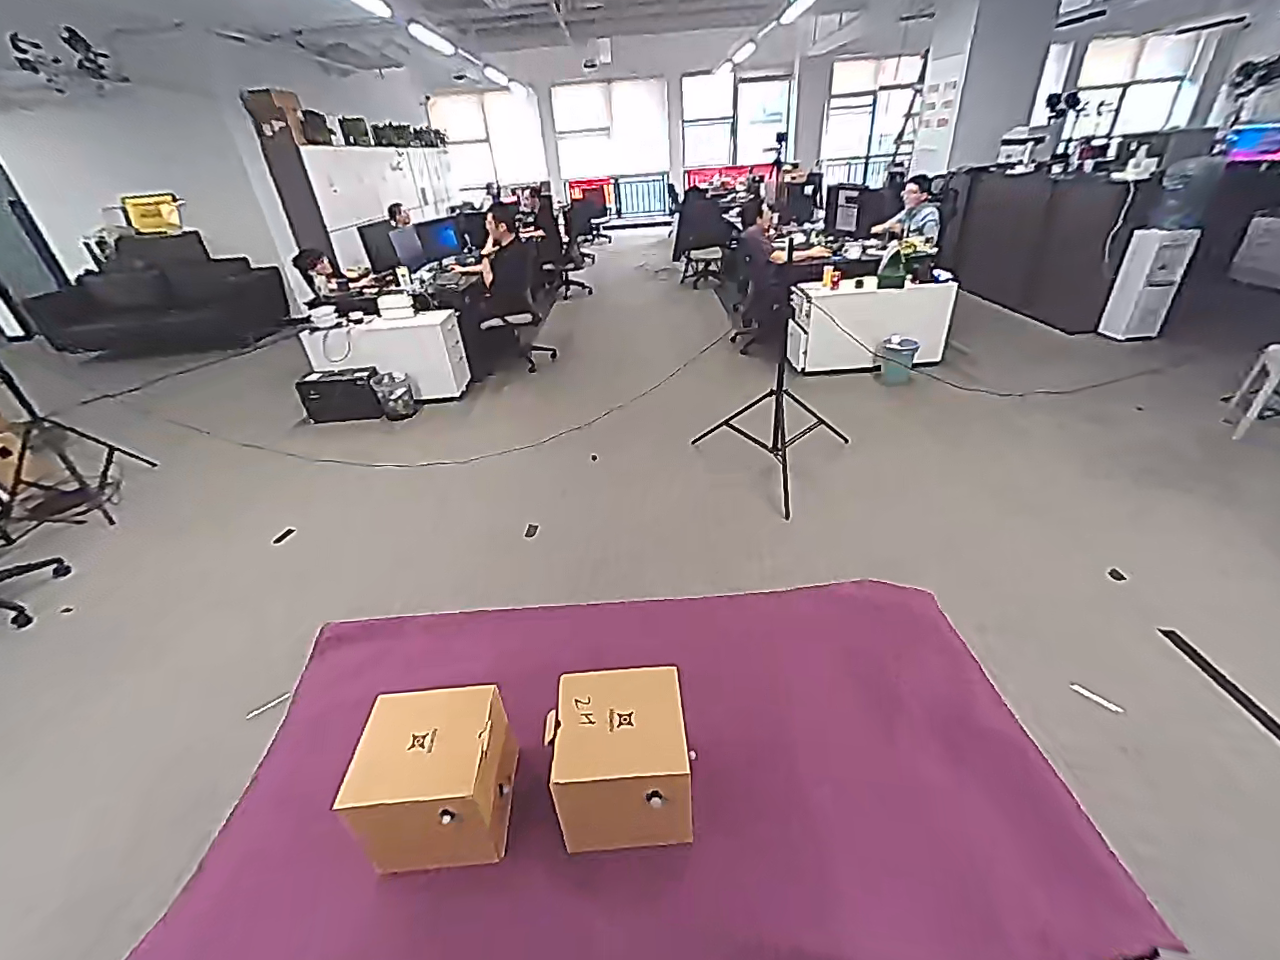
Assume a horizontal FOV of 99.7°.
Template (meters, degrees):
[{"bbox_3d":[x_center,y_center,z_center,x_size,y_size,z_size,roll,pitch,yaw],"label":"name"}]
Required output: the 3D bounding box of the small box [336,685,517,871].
[{"bbox_3d":[-0.284,0.421,0.766,0.179,0.176,0.168,-5,31,-2],"label":"small box"}]

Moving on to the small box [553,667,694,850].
[{"bbox_3d":[-0.019,0.394,0.770,0.179,0.176,0.168,-5,30,0],"label":"small box"}]
